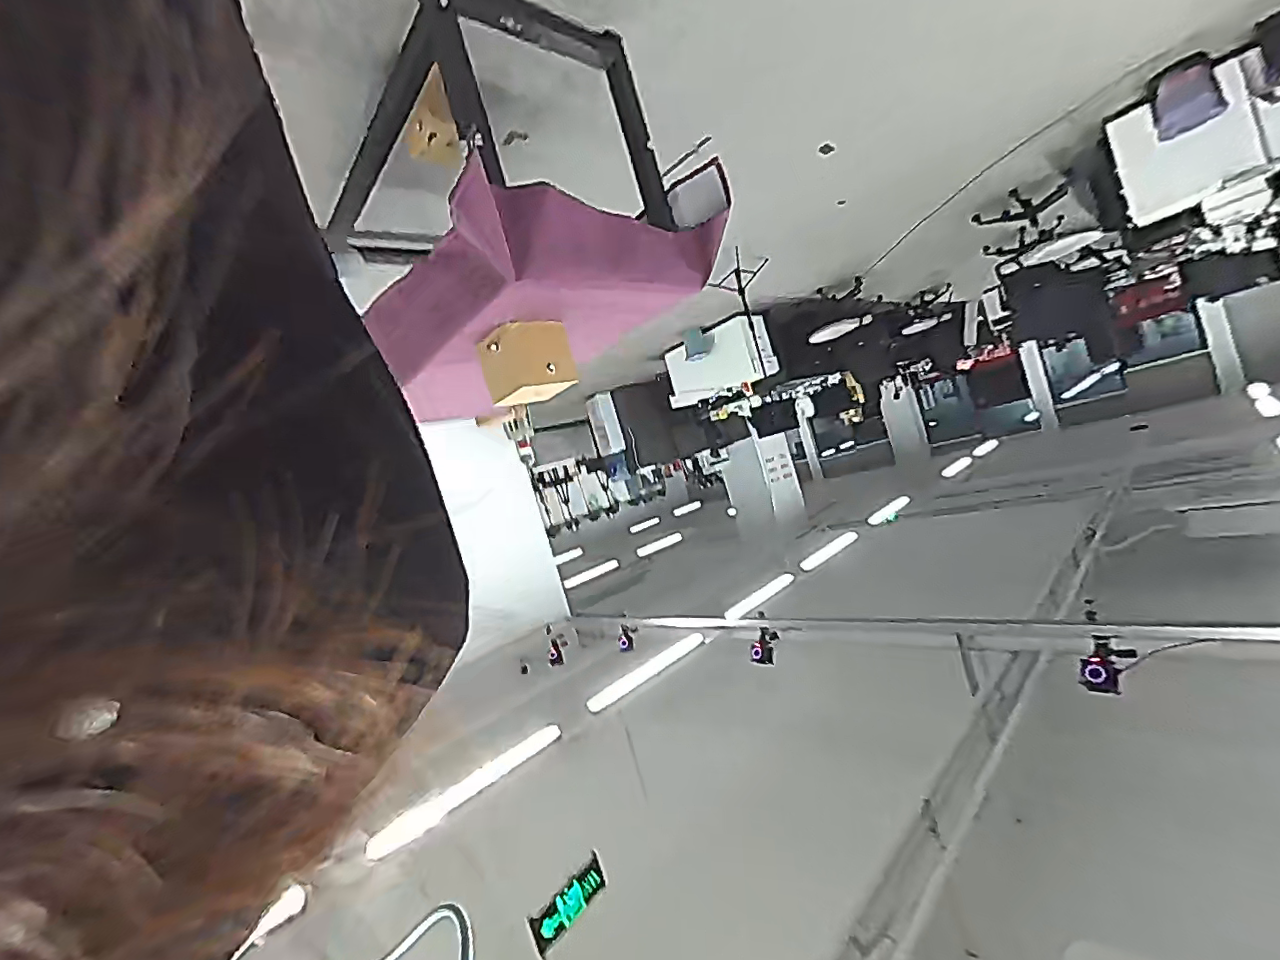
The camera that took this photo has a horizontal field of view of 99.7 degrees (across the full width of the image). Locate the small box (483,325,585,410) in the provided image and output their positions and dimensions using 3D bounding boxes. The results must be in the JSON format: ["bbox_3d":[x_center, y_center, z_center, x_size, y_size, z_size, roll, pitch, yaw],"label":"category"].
[{"bbox_3d":[-0.277,-0.292,1.400,0.179,0.176,0.168,-17,180,-43],"label":"small box"}]
